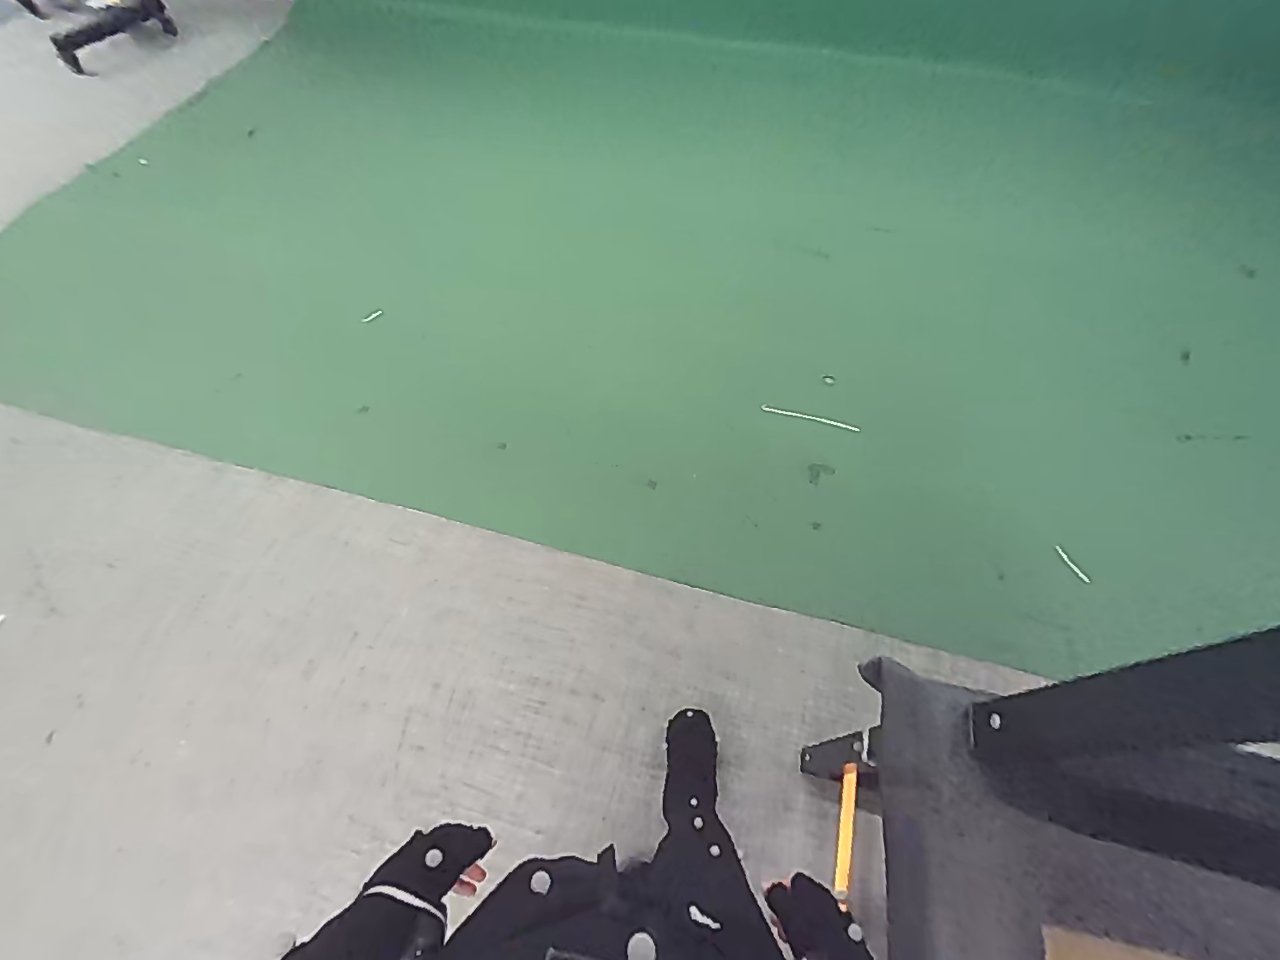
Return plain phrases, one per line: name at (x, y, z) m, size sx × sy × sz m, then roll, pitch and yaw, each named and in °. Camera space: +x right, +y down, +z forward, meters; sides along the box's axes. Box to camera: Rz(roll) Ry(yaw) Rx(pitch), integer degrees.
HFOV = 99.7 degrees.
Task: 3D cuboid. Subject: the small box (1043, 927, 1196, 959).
small box at (0.473, 0.492, 0.431) m, size 0.179 × 0.176 × 0.168 m, roll 11°, pitch 60°, yaw 7°
